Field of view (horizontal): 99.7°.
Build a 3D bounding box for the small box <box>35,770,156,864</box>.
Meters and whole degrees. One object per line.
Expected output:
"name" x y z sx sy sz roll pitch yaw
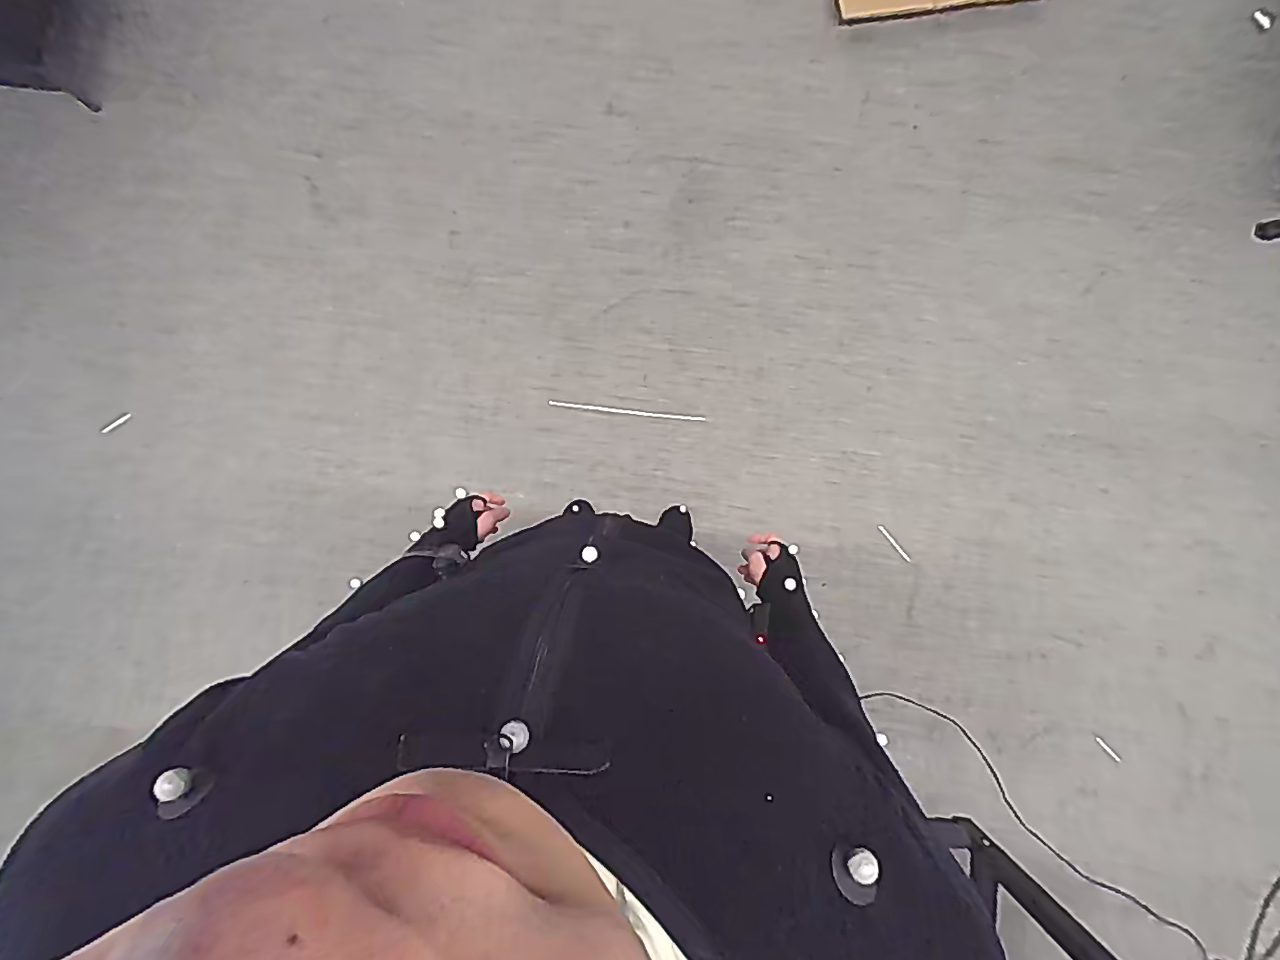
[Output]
"small box" -1.519 0.938 1.519 0.179 0.176 0.168 2 88 0
